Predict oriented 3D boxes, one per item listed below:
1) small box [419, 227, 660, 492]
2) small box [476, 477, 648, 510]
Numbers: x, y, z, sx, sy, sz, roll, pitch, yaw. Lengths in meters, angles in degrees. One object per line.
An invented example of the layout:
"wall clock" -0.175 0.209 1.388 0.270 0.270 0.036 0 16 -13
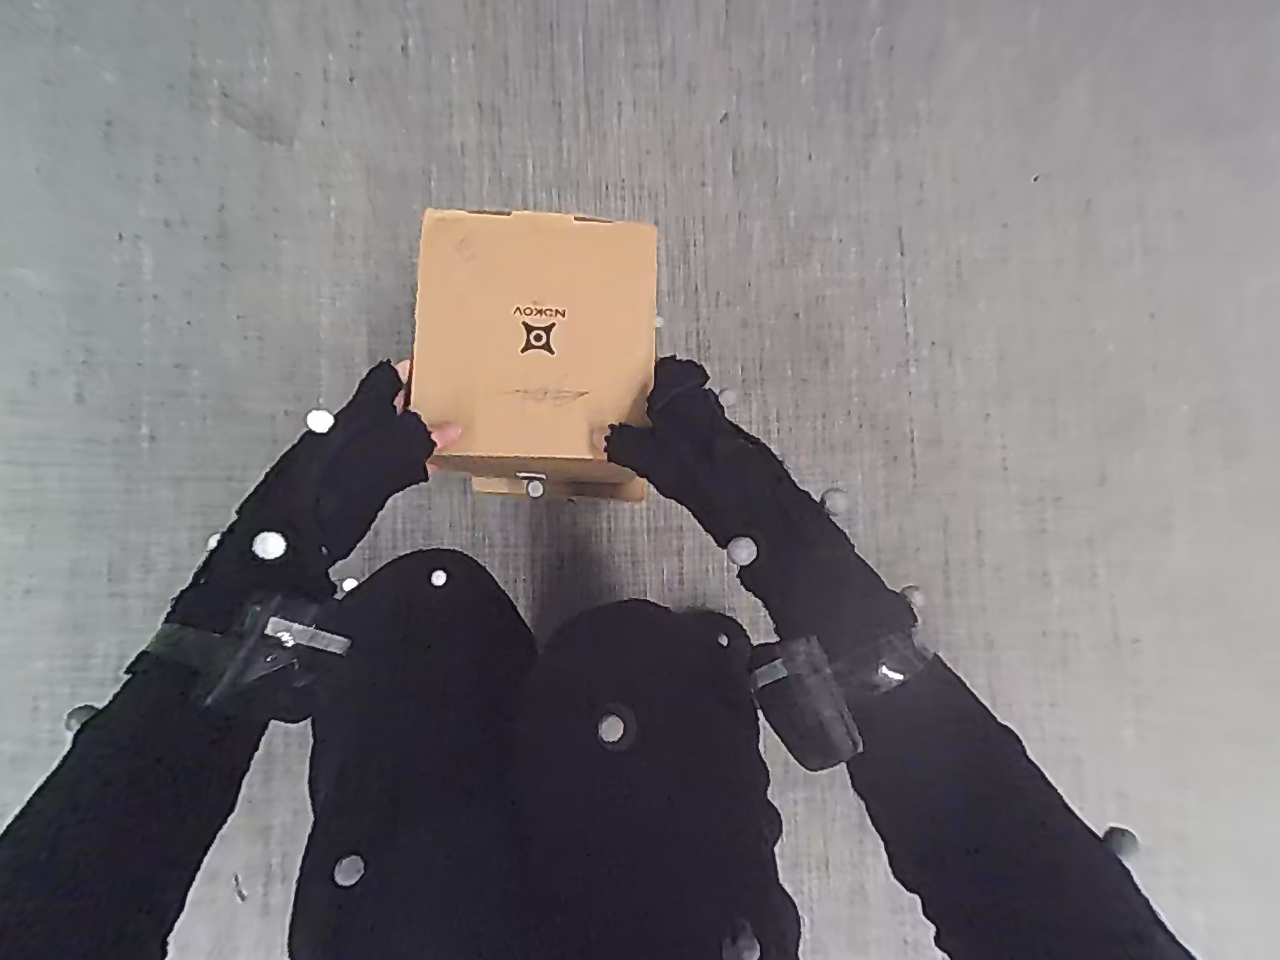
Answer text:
"small box" -0.076 -0.085 0.465 0.168 0.176 0.179 2 85 -5
"small box" -0.079 -0.052 0.636 0.179 0.176 0.168 3 86 -1
